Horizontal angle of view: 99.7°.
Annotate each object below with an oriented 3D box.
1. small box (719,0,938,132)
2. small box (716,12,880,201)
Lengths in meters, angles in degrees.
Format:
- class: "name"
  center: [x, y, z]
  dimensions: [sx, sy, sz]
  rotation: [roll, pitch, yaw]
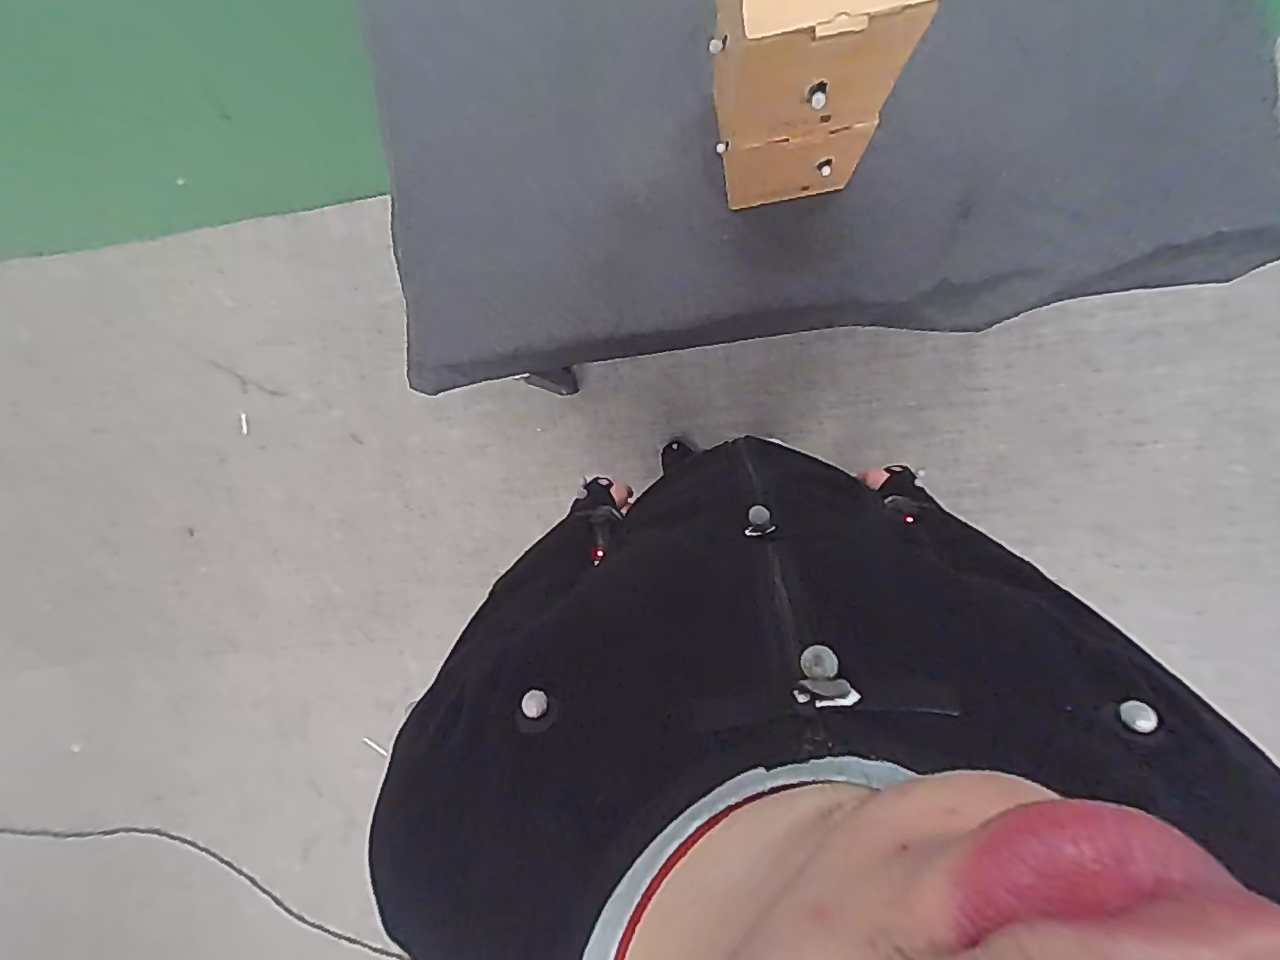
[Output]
- class: "small box"
  center: [0.173, -0.482, 0.541]
  dimensions: [0.168, 0.176, 0.179]
  rotation: [-7, 94, 5]
- class: "small box"
  center: [0.193, -0.489, 0.703]
  dimensions: [0.168, 0.176, 0.179]
  rotation: [-8, 92, 6]
